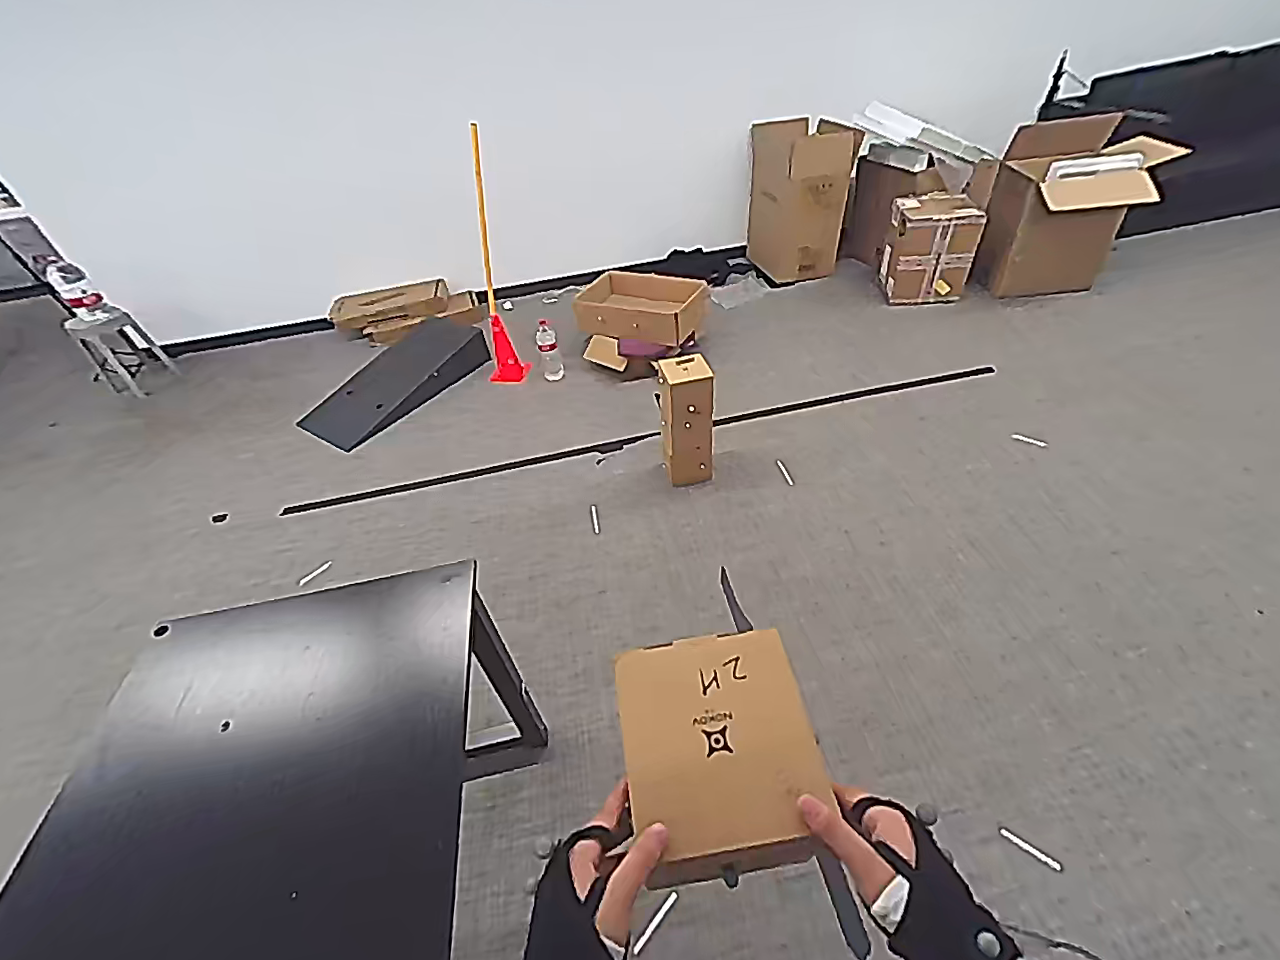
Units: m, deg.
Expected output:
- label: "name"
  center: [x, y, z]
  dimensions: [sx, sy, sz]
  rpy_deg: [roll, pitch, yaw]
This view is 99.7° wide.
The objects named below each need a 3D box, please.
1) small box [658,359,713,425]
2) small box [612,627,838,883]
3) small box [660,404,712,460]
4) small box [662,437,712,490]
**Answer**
- label: "small box"
  center: [0.169, -0.329, 2.027]
  dimensions: [0.168, 0.176, 0.179]
  rpy_deg: [-12, 42, -6]
- label: "small box"
  center: [0.071, 0.274, 0.531]
  dimensions: [0.168, 0.176, 0.179]
  rpy_deg: [-9, 47, -3]
- label: "small box"
  center: [0.181, -0.204, 2.135]
  dimensions: [0.168, 0.176, 0.179]
  rpy_deg: [-12, 40, -6]
- label: "small box"
  center: [0.196, -0.082, 2.243]
  dimensions: [0.179, 0.176, 0.168]
  rpy_deg: [-12, 41, -4]
